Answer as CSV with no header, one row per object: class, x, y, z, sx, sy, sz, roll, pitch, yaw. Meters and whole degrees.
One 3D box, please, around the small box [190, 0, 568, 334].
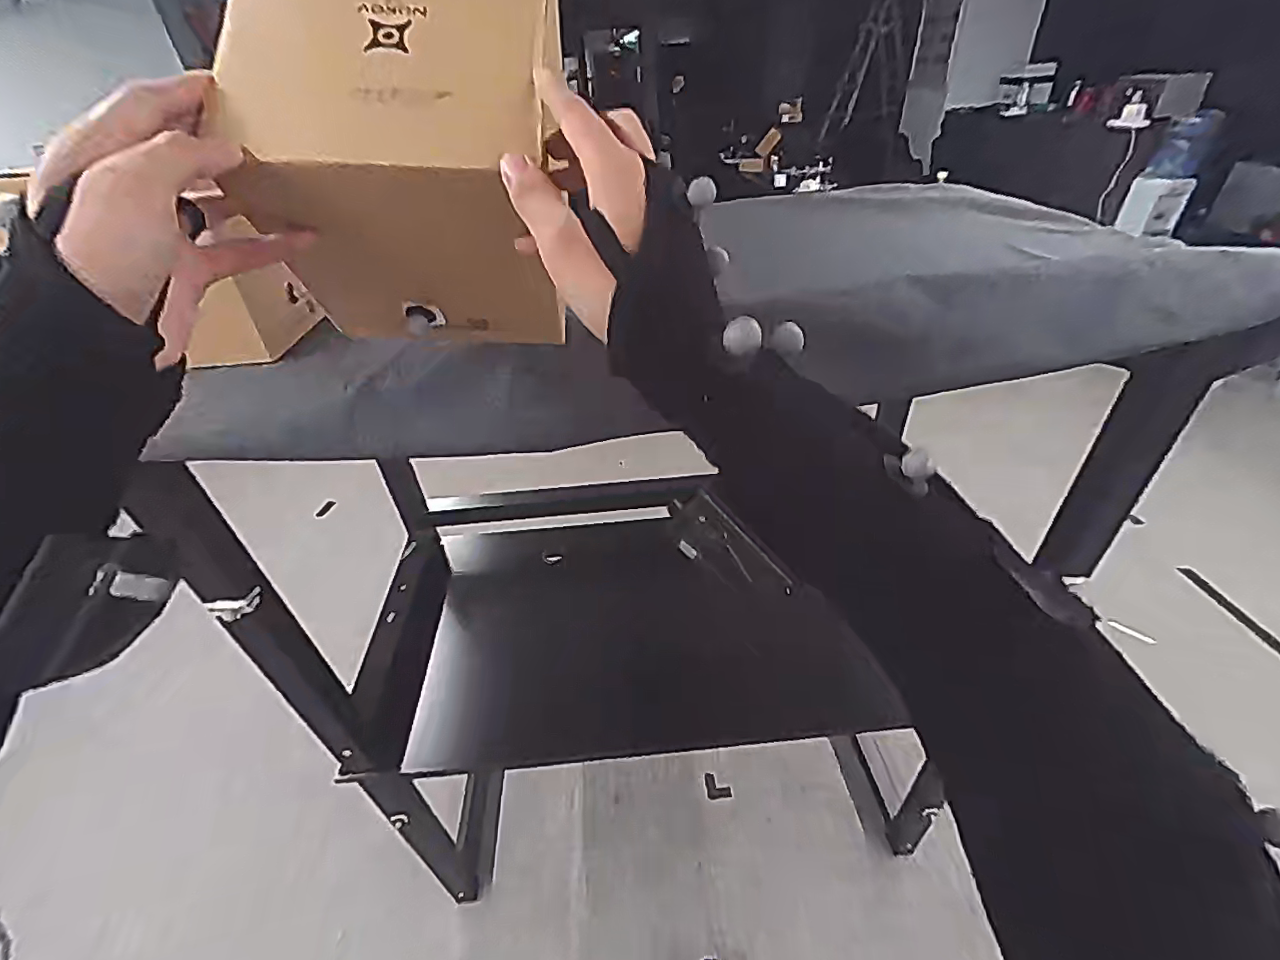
small box,-0.138,-0.221,0.360,0.168,0.176,0.179,0,73,-4
